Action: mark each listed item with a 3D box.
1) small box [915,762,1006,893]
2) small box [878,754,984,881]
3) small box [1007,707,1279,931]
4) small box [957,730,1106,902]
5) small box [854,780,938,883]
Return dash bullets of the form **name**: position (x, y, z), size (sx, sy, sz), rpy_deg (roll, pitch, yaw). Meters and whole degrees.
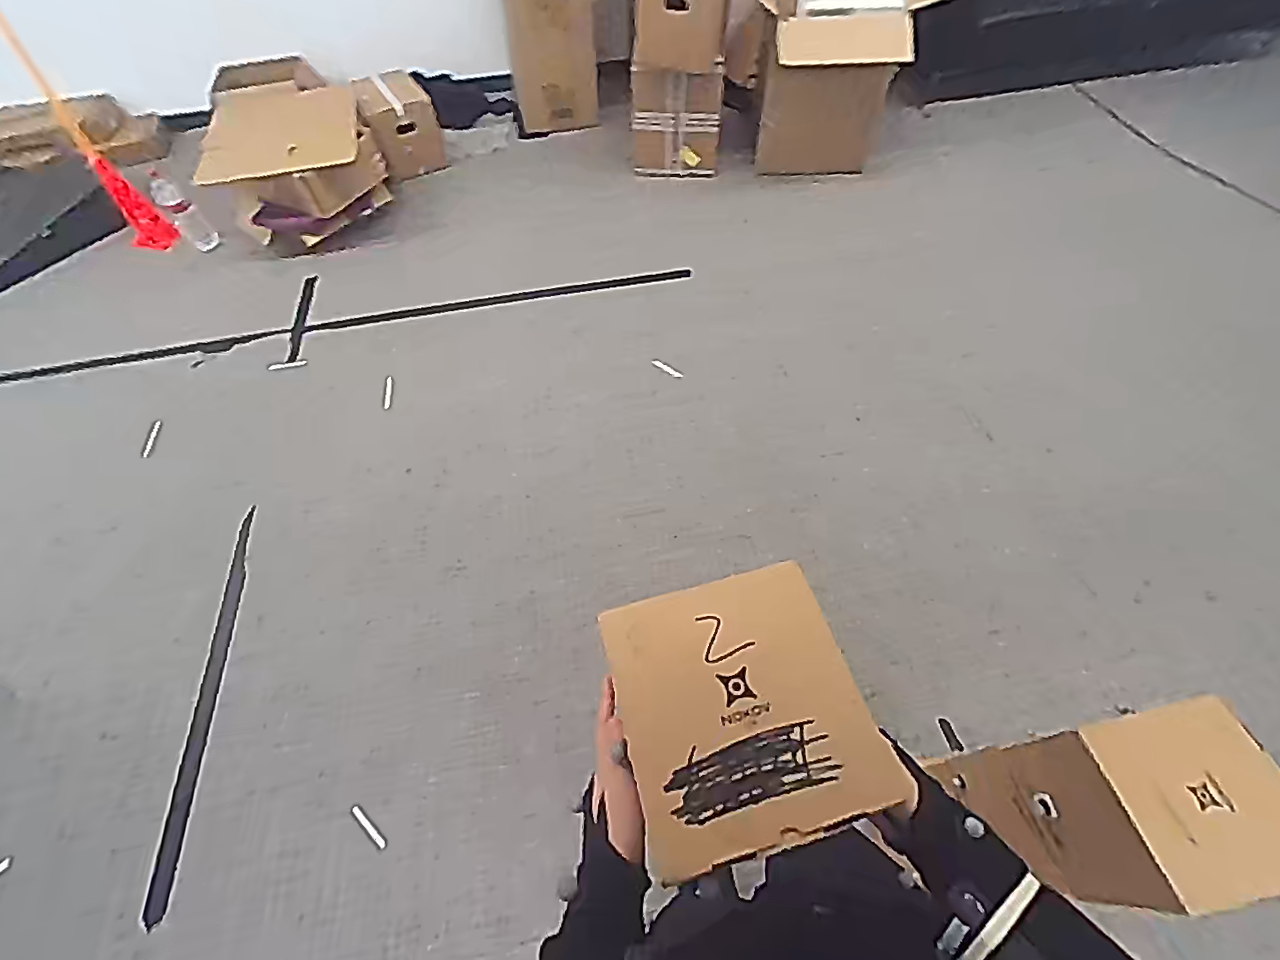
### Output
- **small box**: position (0.574, 0.549, 0.872), size (0.179, 0.176, 0.168), rpy_deg (-9, 57, -3)
- **small box**: position (0.574, 0.632, 1.013), size (0.168, 0.176, 0.179), rpy_deg (-8, 57, -2)
- **small box**: position (0.566, 0.368, 0.601), size (0.179, 0.176, 0.168), rpy_deg (-11, 56, -4)
- **small box**: position (0.570, 0.456, 0.737), size (0.179, 0.176, 0.168), rpy_deg (-8, 56, -4)
- **small box**: position (0.584, 0.727, 1.147), size (0.168, 0.176, 0.179), rpy_deg (-10, 57, -4)
